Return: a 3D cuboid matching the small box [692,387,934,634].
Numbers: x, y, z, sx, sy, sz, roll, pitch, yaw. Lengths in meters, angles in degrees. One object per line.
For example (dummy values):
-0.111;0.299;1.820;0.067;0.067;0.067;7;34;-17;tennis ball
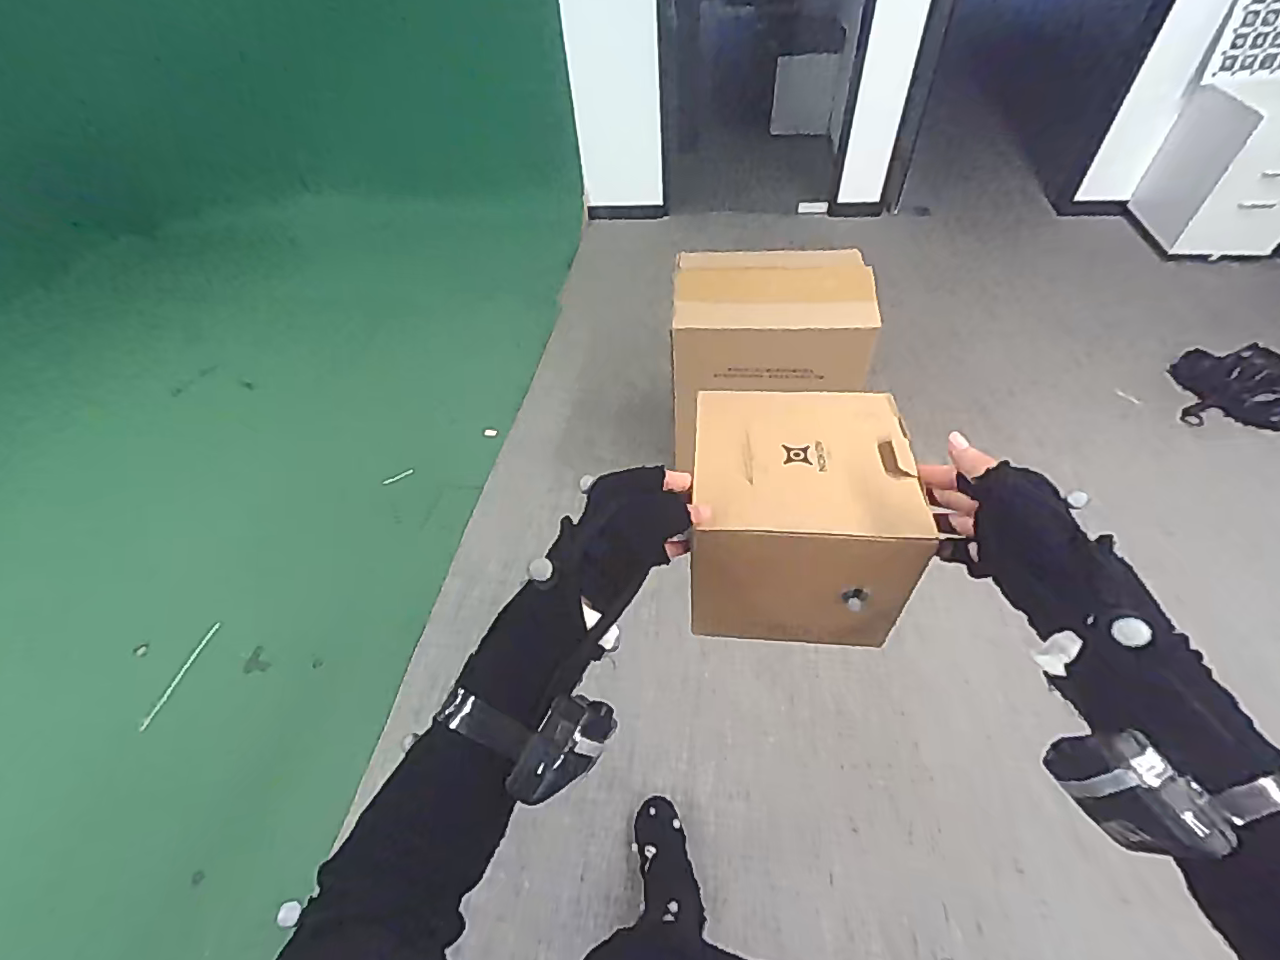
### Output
0.139;0.031;0.507;0.179;0.176;0.168;0;46;7;small box
